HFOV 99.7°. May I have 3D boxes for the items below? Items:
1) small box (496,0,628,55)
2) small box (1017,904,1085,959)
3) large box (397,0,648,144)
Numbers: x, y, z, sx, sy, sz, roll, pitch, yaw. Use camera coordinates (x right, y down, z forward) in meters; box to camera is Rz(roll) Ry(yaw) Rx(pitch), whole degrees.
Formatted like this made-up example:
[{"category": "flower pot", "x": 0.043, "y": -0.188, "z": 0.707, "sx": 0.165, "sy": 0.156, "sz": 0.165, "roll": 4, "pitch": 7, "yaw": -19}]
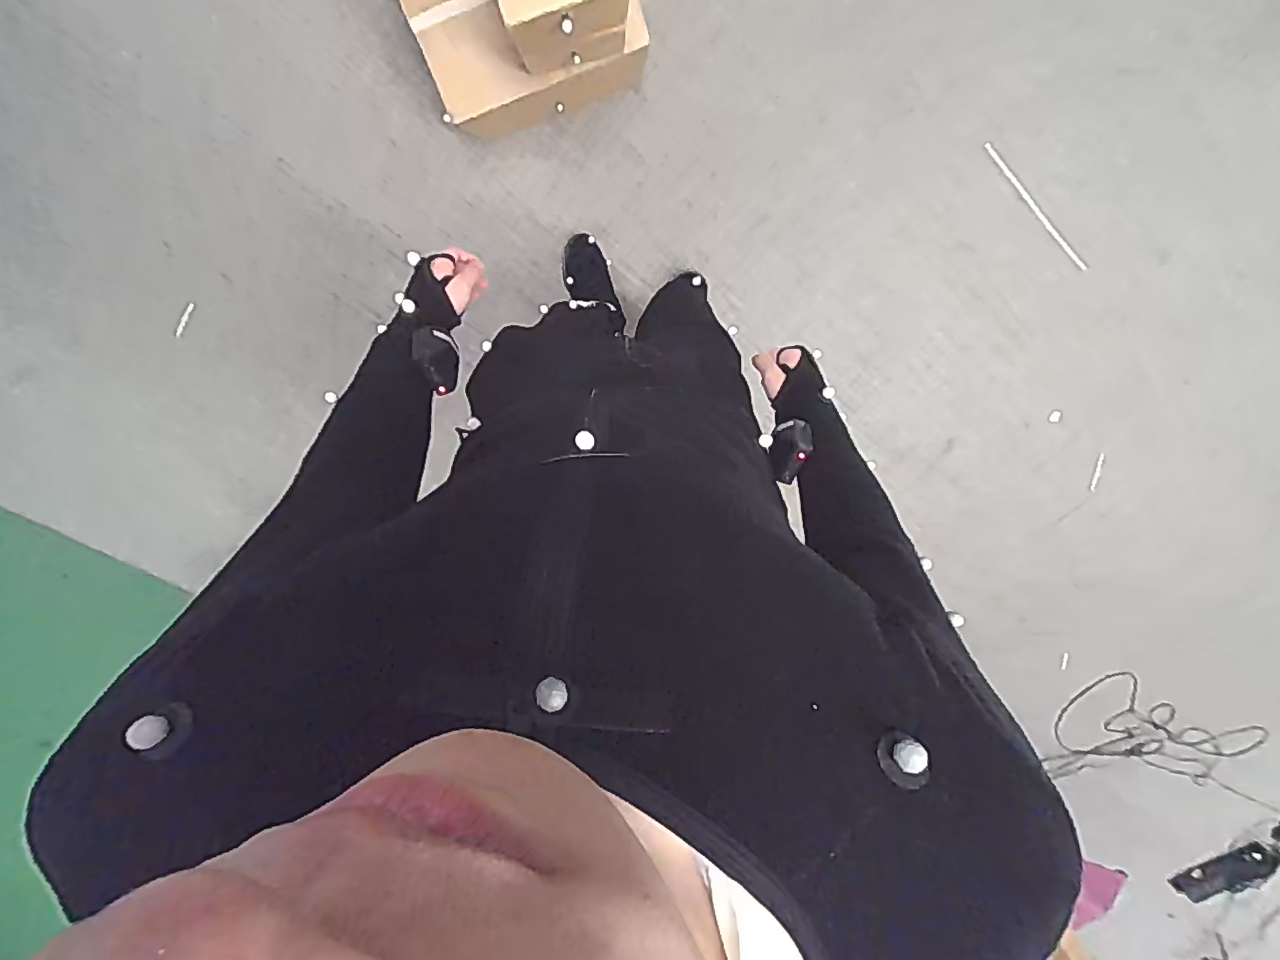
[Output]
[{"category": "small box", "x": -0.118, "y": -0.712, "z": 0.730, "sx": 0.179, "sy": 0.176, "sz": 0.168, "roll": -15, "pitch": 118, "yaw": 5}, {"category": "small box", "x": 1.168, "y": 1.384, "z": 1.579, "sx": 0.168, "sy": 0.176, "sz": 0.179, "roll": 35, "pitch": 110, "yaw": -18}, {"category": "large box", "x": -0.226, "y": -0.923, "z": 1.075, "sx": 0.408, "sy": 0.320, "sz": 0.320, "roll": -18, "pitch": 115, "yaw": 6}]
